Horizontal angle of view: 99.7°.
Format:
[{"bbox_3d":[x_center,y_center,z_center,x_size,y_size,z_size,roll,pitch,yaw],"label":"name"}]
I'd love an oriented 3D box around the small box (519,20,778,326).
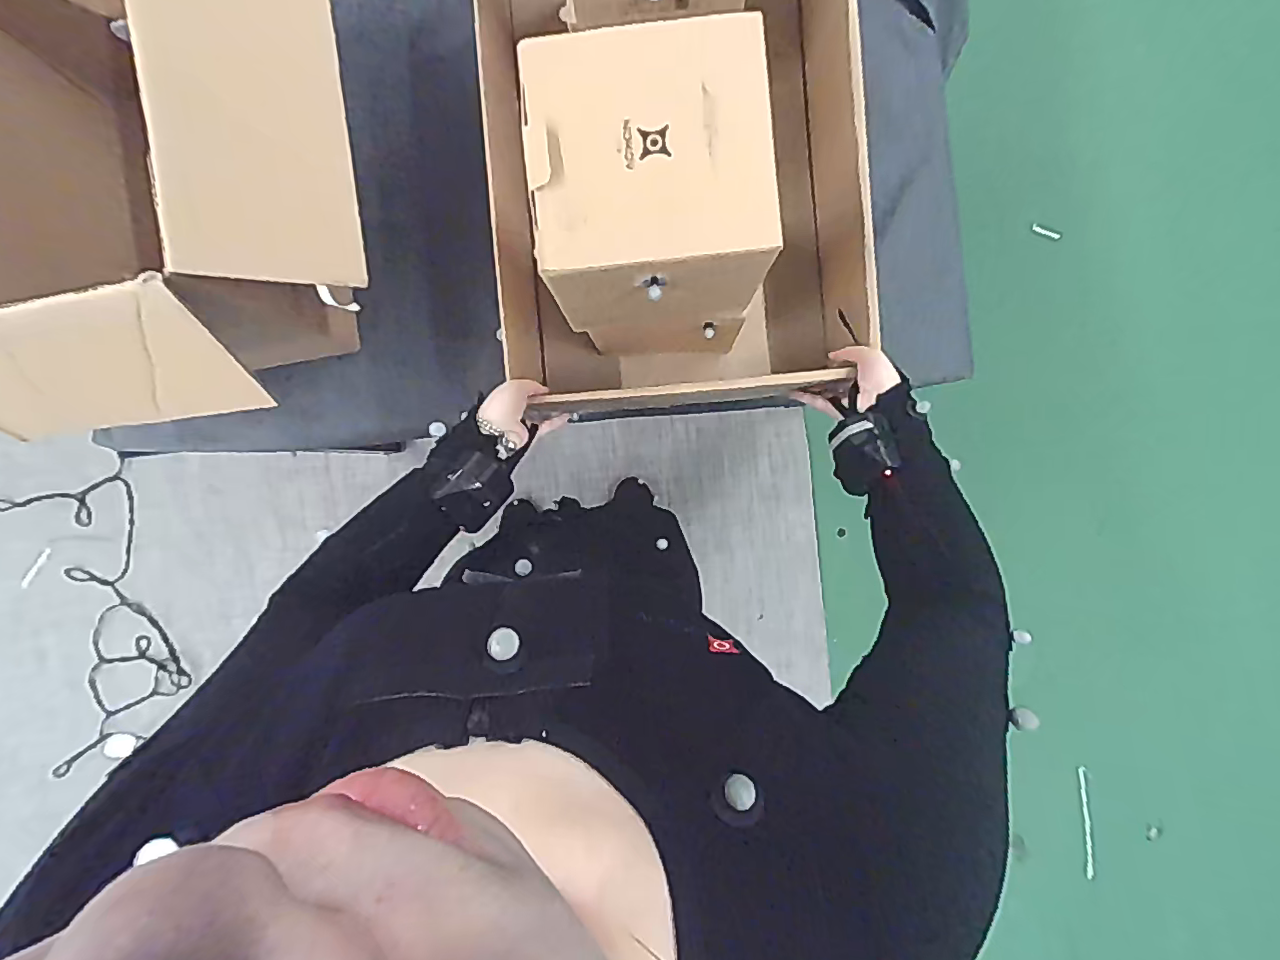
[{"bbox_3d":[0.008,-0.239,0.467,0.179,0.176,0.168,-6,92,1],"label":"small box"}]
